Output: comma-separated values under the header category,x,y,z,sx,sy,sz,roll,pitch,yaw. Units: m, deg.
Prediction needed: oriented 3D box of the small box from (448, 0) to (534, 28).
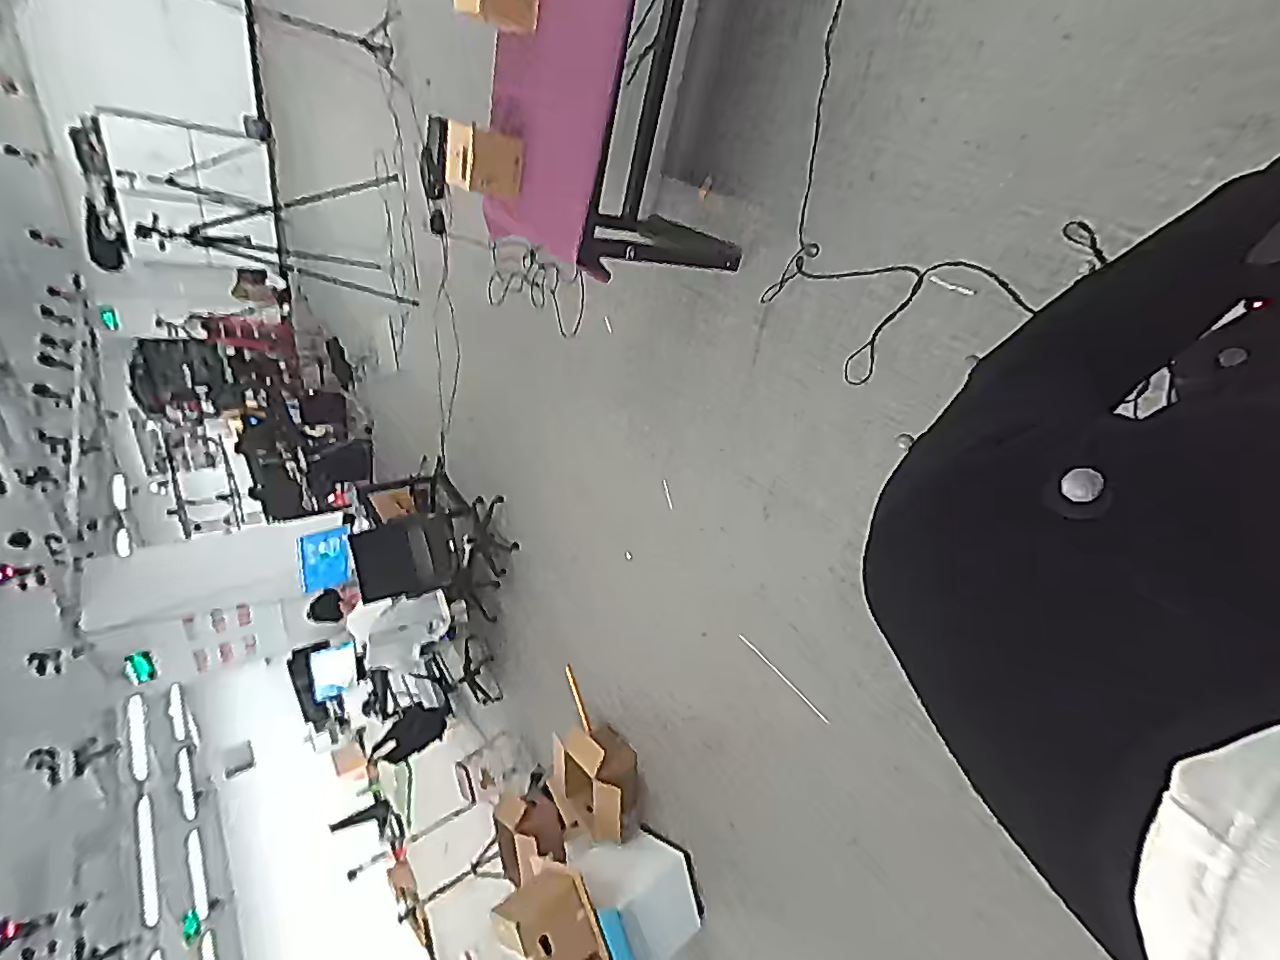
category,x,y,z,sx,sy,sz,roll,pitch,yaw
small box,-0.394,-1.342,1.446,0.179,0.176,0.168,40,128,35
